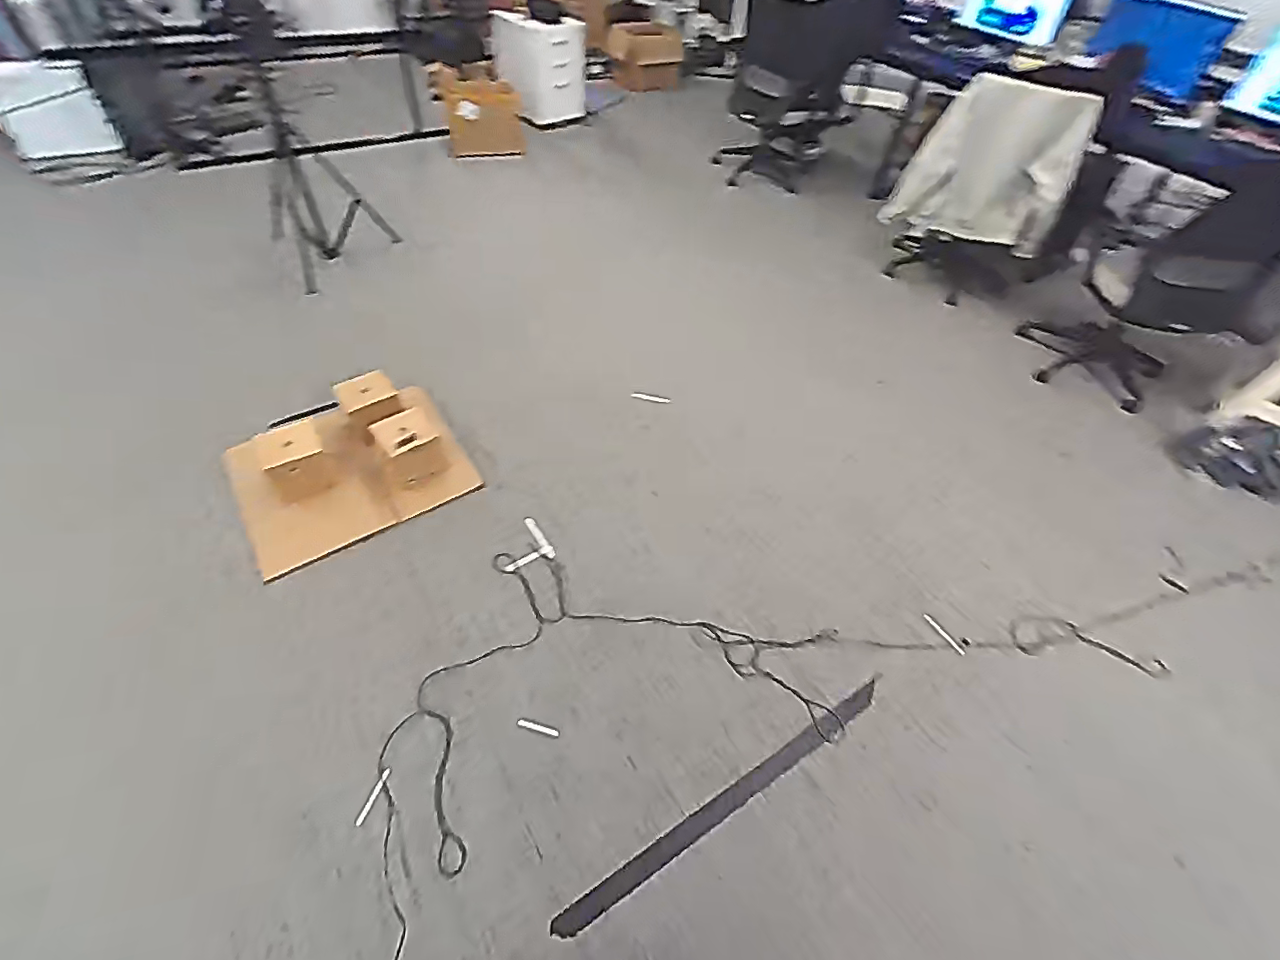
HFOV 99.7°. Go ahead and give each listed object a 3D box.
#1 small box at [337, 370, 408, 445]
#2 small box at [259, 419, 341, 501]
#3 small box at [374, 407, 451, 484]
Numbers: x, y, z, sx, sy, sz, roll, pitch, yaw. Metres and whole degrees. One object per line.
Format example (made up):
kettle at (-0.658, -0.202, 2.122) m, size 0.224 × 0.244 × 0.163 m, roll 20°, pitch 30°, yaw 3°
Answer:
small box at (-0.945, -0.258, 1.939) m, size 0.179 × 0.176 × 0.168 m, roll -31°, pitch 58°, yaw -26°
small box at (-1.098, -0.064, 1.760) m, size 0.179 × 0.176 × 0.168 m, roll -23°, pitch 56°, yaw -21°
small box at (-0.763, -0.108, 1.828) m, size 0.168 × 0.176 × 0.179 m, roll -29°, pitch 59°, yaw -26°
